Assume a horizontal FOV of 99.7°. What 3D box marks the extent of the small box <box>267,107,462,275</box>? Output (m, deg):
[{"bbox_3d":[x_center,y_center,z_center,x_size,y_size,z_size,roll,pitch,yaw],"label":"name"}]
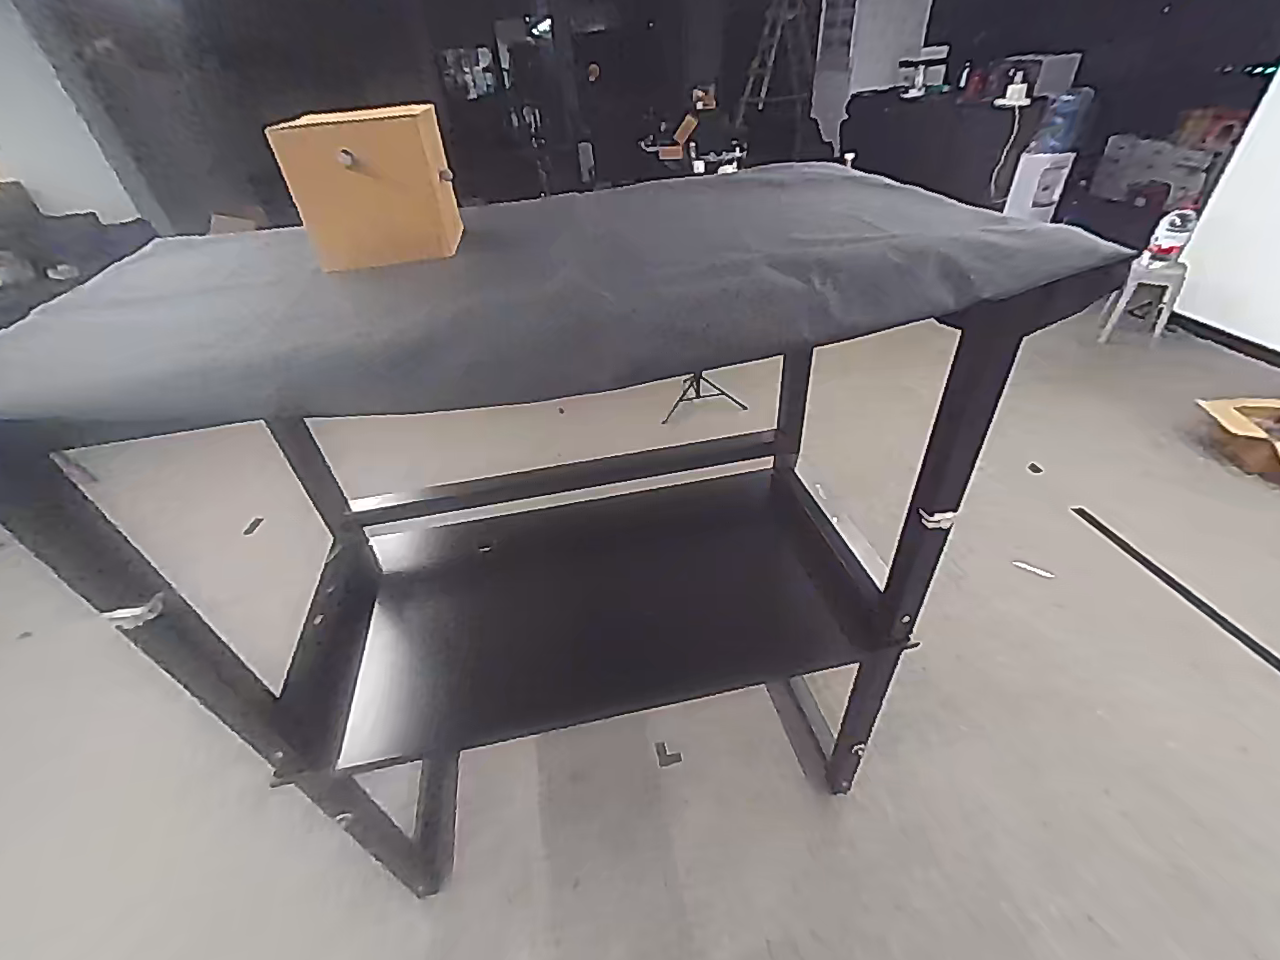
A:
[{"bbox_3d":[-0.357,-0.399,0.745,0.179,0.176,0.168,-10,39,-5],"label":"small box"}]
